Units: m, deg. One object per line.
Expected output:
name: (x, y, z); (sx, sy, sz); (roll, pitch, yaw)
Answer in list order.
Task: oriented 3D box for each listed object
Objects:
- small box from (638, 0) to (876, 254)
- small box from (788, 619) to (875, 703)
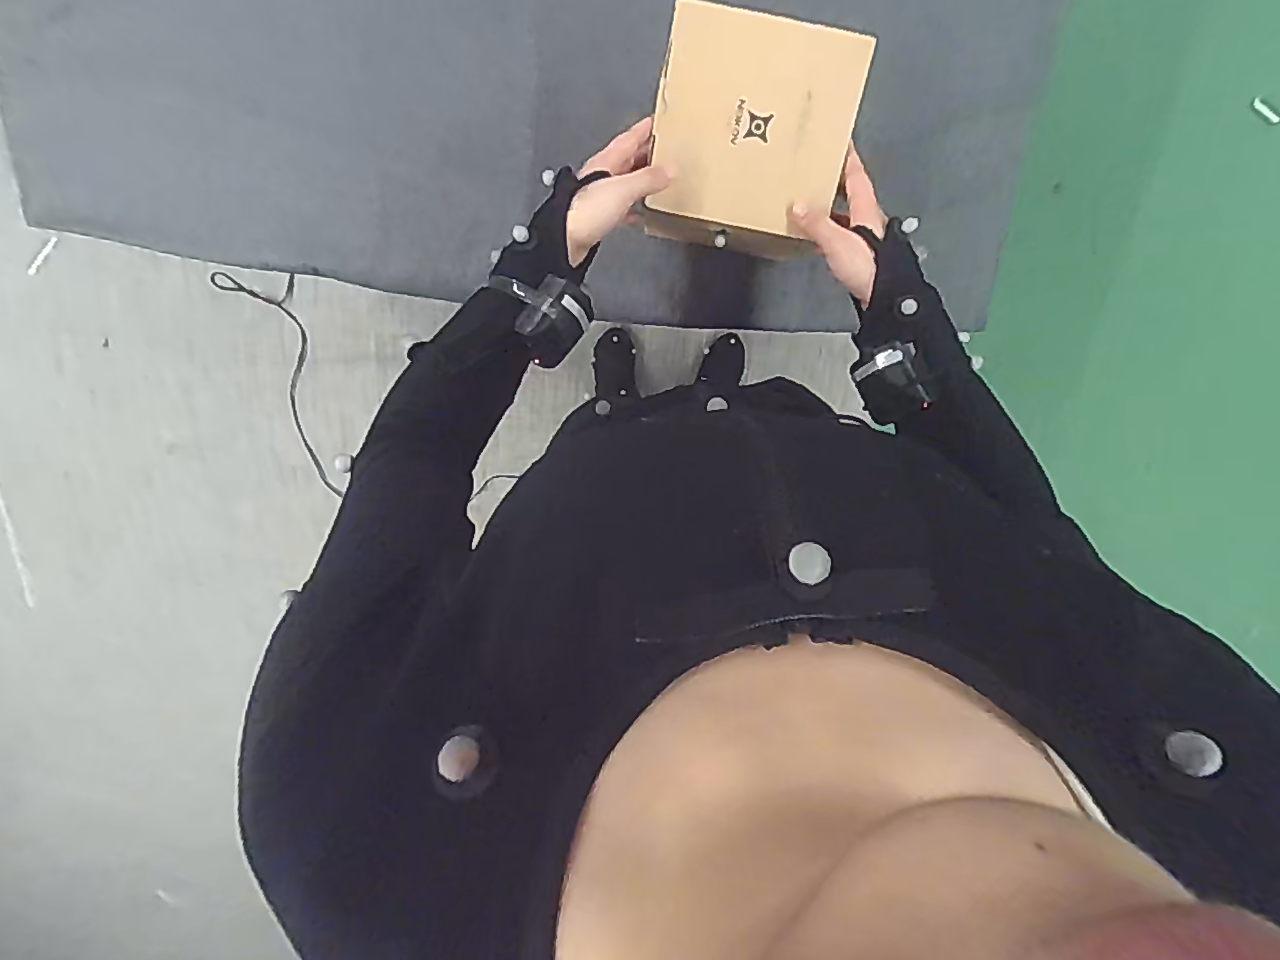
small box: (0.100, -0.333, 0.545); (0.179, 0.176, 0.168); (10, 108, -1)
small box: (0.523, 0.510, 1.505); (0.168, 0.176, 0.179); (9, 109, 1)
